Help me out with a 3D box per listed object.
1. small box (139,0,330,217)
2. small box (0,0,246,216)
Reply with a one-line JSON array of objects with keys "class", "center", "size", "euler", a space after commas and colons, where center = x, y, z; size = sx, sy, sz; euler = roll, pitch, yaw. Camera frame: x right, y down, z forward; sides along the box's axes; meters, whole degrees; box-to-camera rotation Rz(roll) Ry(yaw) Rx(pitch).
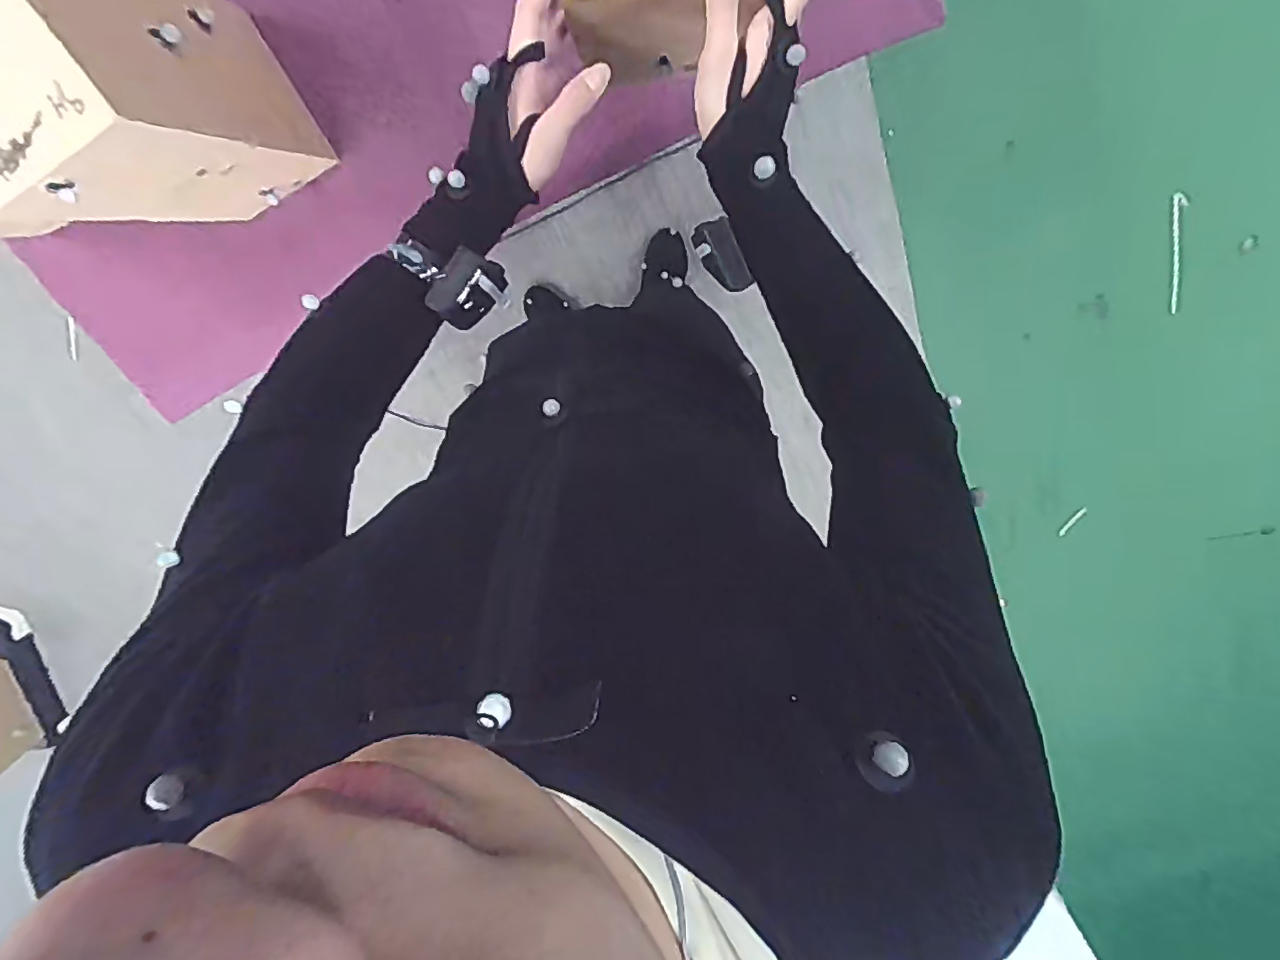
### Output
[{"class": "small box", "center": [-0.508, -0.421, 0.615], "size": [0.168, 0.176, 0.179], "euler": [-23, 115, 12]}, {"class": "small box", "center": [-0.509, -0.349, 0.467], "size": [0.168, 0.176, 0.179], "euler": [-23, 113, 12]}]
